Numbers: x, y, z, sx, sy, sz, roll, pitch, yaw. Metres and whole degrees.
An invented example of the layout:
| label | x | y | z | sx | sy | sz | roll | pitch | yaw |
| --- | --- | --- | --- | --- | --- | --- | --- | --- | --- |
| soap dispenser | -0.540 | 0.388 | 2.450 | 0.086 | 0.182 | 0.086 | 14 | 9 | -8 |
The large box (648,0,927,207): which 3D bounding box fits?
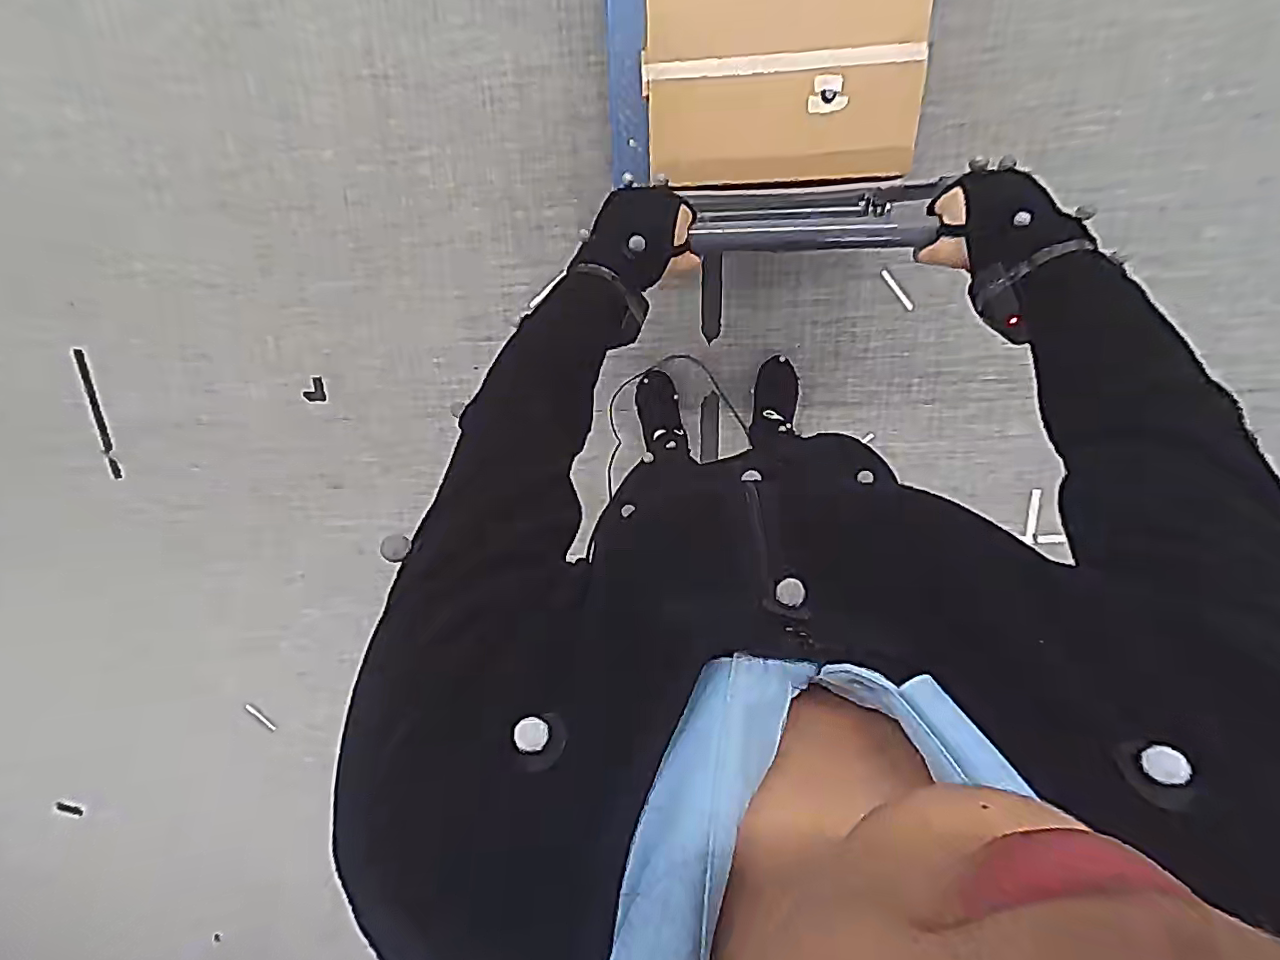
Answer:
| label | x | y | z | sx | sy | sz | roll | pitch | yaw |
| --- | --- | --- | --- | --- | --- | --- | --- | --- | --- |
| large box | 0.226 | -0.679 | 0.949 | 0.408 | 0.320 | 0.320 | 0 | 112 | 5 |
